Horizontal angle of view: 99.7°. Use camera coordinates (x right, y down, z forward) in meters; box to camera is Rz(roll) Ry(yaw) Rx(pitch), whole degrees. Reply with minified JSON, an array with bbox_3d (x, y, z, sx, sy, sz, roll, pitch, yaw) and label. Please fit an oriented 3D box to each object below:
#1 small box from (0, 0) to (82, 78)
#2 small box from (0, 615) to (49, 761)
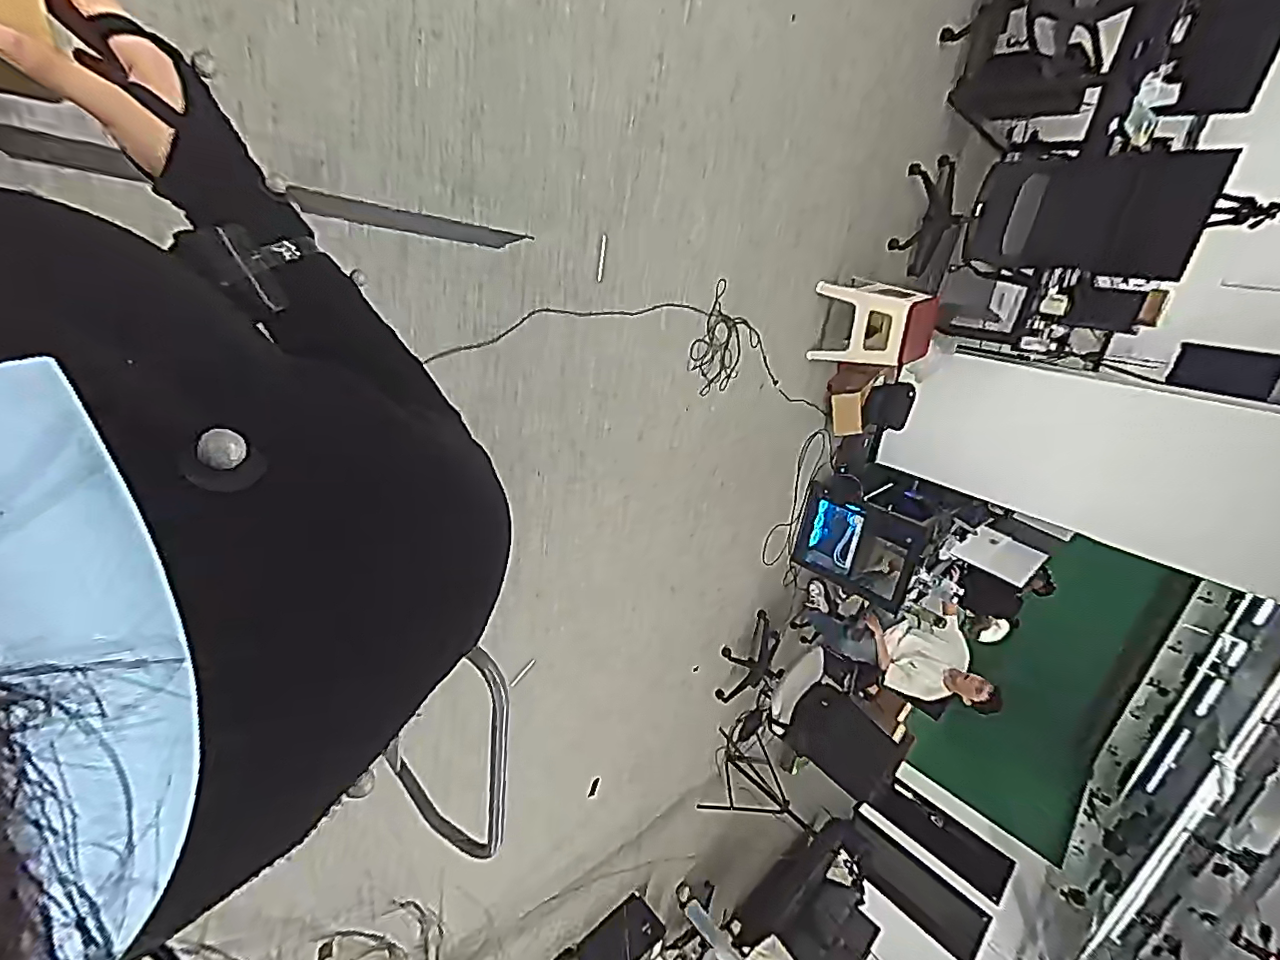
[{"bbox_3d":[-0.433,-0.347,0.284,0.168,0.176,0.179,-14,121,-42],"label":"small box"},{"bbox_3d":[-1.108,0.355,0.892,0.168,0.176,0.179,-8,116,-45],"label":"small box"}]
